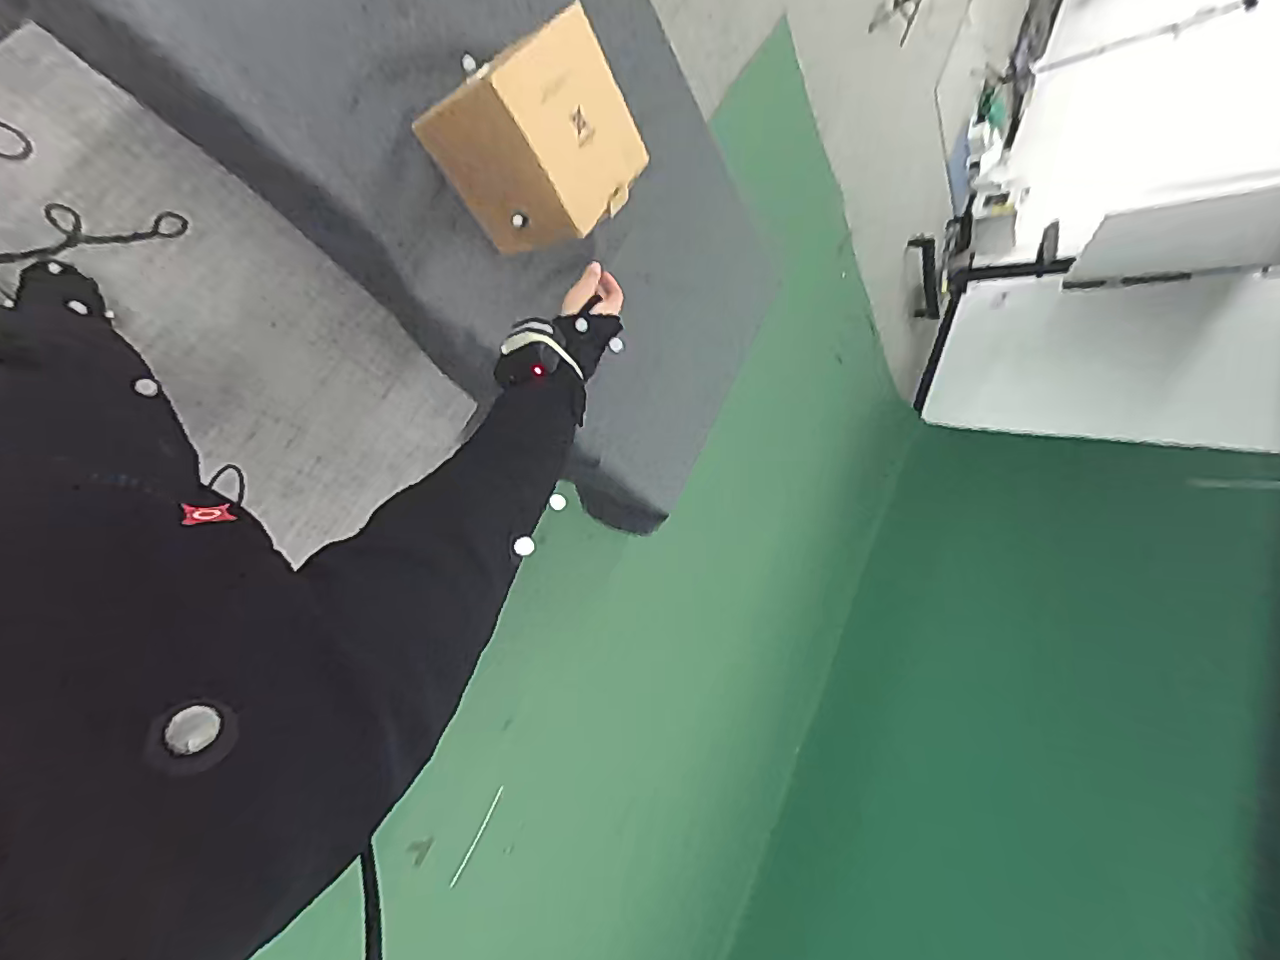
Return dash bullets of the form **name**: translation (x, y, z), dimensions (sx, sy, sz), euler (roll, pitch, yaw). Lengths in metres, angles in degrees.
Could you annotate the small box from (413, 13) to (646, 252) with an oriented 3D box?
- **small box**: translation (-0.130, -0.399, 0.656), dimensions (0.168, 0.176, 0.179), euler (-59, 134, -23)
